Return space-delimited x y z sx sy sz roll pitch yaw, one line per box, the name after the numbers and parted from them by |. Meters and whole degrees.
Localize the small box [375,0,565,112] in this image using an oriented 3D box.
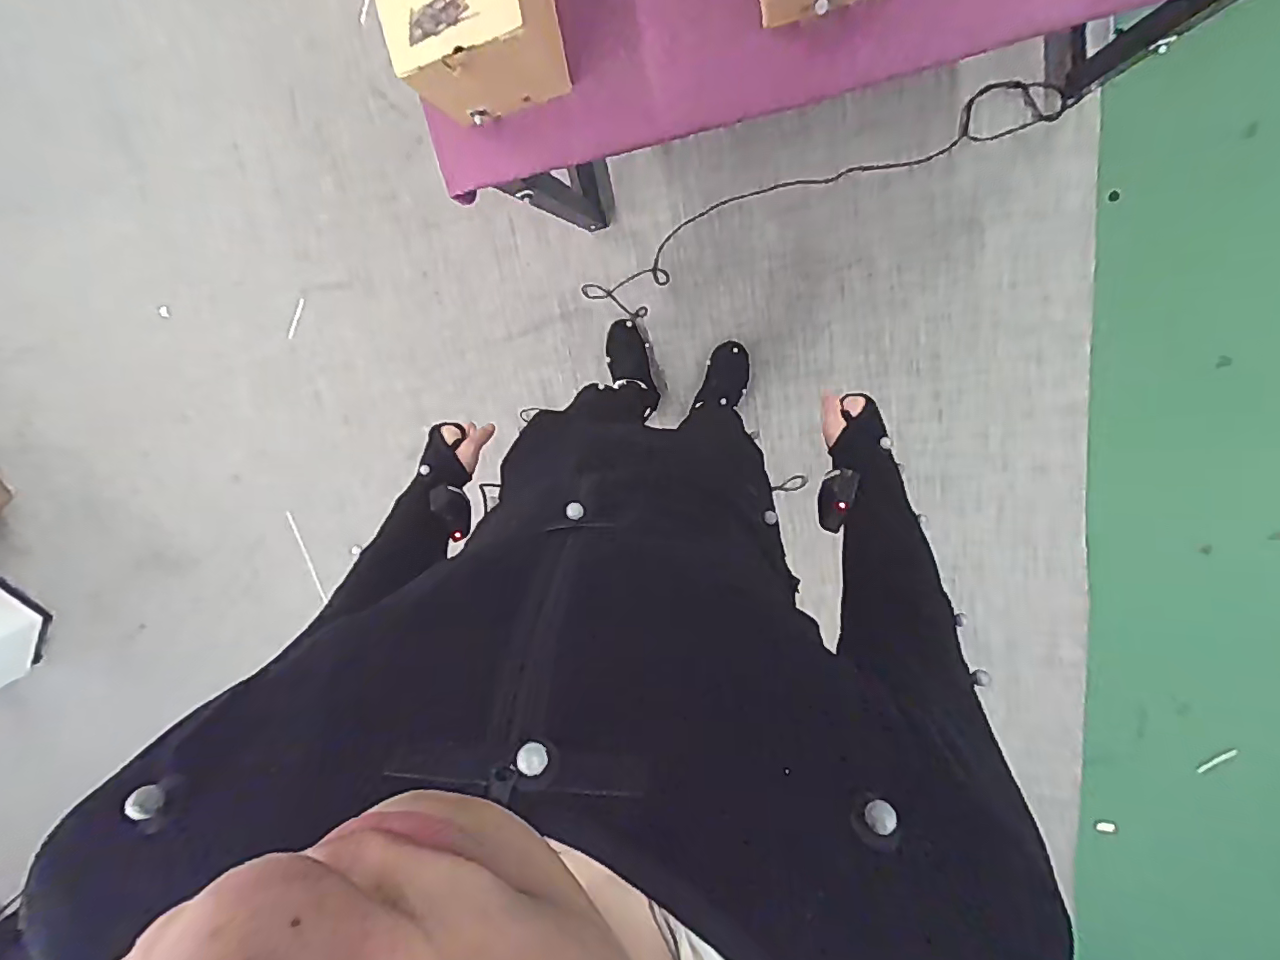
-0.207 -0.587 0.664 0.168 0.176 0.179 -8 104 15 | small box

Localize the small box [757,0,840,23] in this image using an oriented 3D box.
0.194 -0.636 0.559 0.168 0.176 0.179 -7 106 16 | small box
